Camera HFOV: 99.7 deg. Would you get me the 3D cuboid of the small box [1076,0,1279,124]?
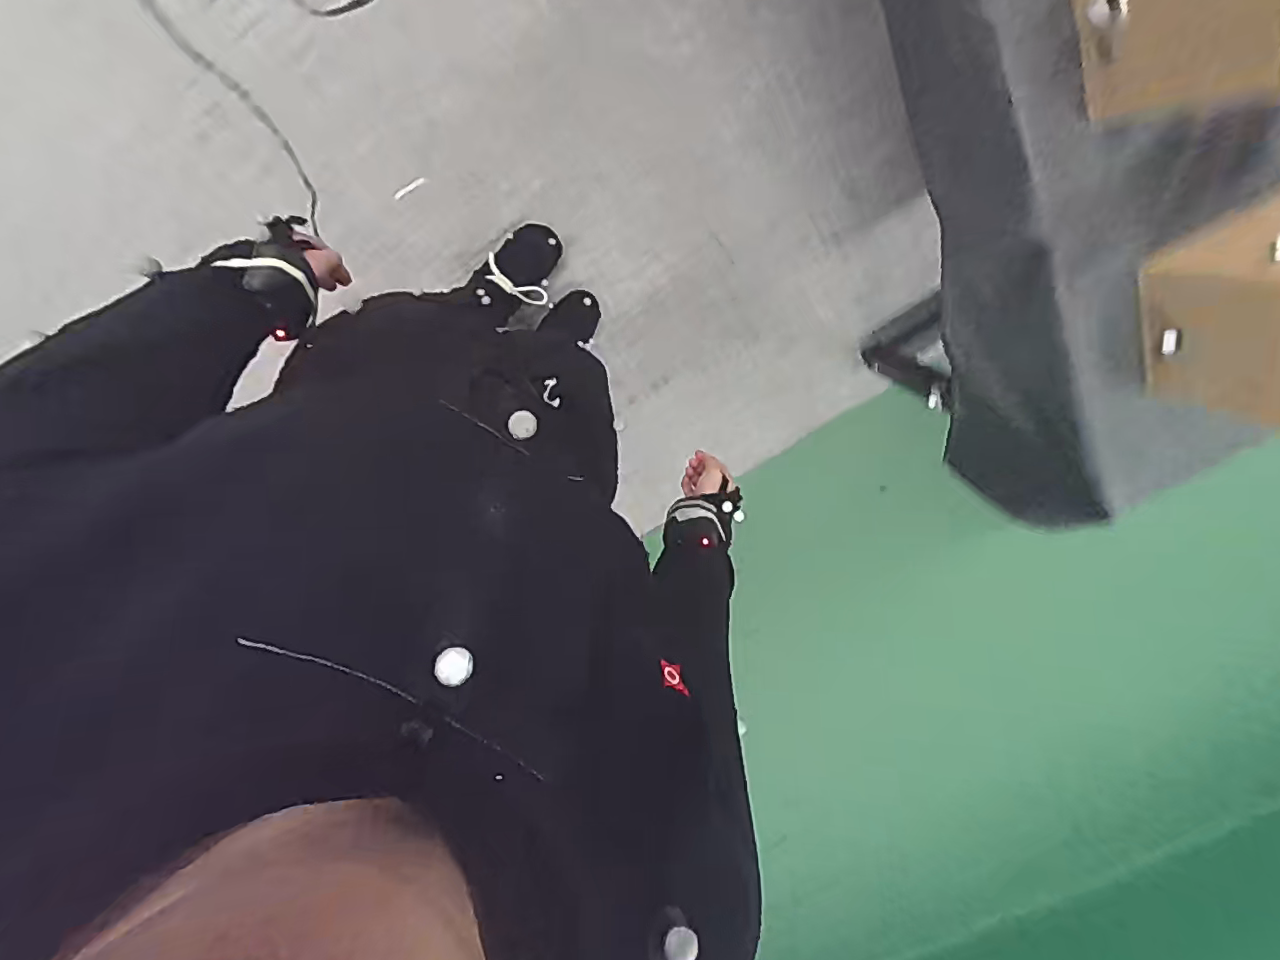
[{"bbox_3d":[0.477,-0.402,0.399,0.179,0.176,0.168,-30,115,9],"label":"small box"}]
